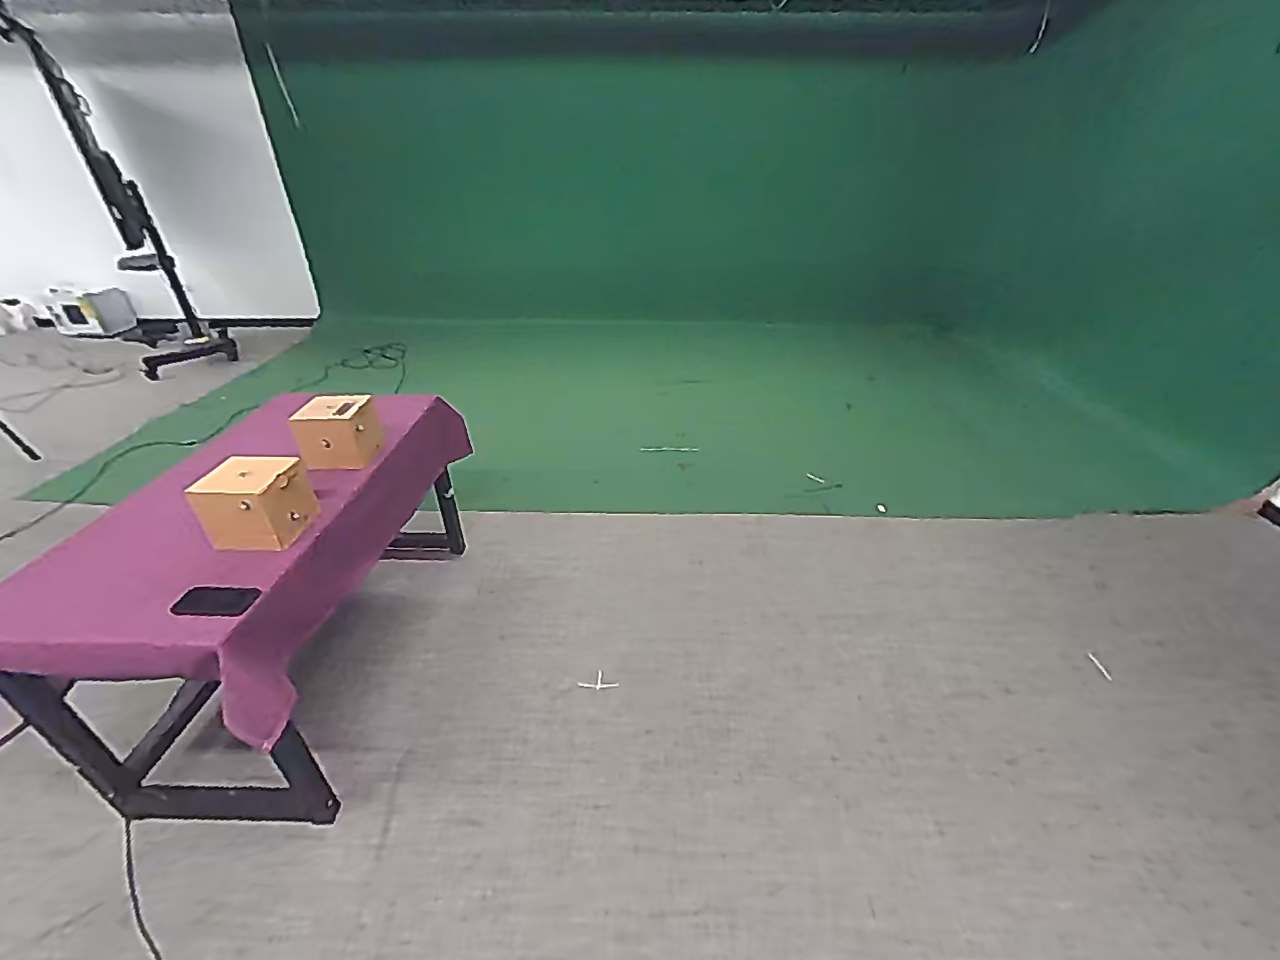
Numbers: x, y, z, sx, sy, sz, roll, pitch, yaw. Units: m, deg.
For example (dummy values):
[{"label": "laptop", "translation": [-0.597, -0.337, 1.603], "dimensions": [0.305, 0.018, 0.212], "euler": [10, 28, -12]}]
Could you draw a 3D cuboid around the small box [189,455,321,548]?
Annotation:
[{"label": "small box", "translation": [-0.919, 0.051, 1.311], "dimensions": [0.179, 0.176, 0.168], "euler": [2, 32, 2]}]
